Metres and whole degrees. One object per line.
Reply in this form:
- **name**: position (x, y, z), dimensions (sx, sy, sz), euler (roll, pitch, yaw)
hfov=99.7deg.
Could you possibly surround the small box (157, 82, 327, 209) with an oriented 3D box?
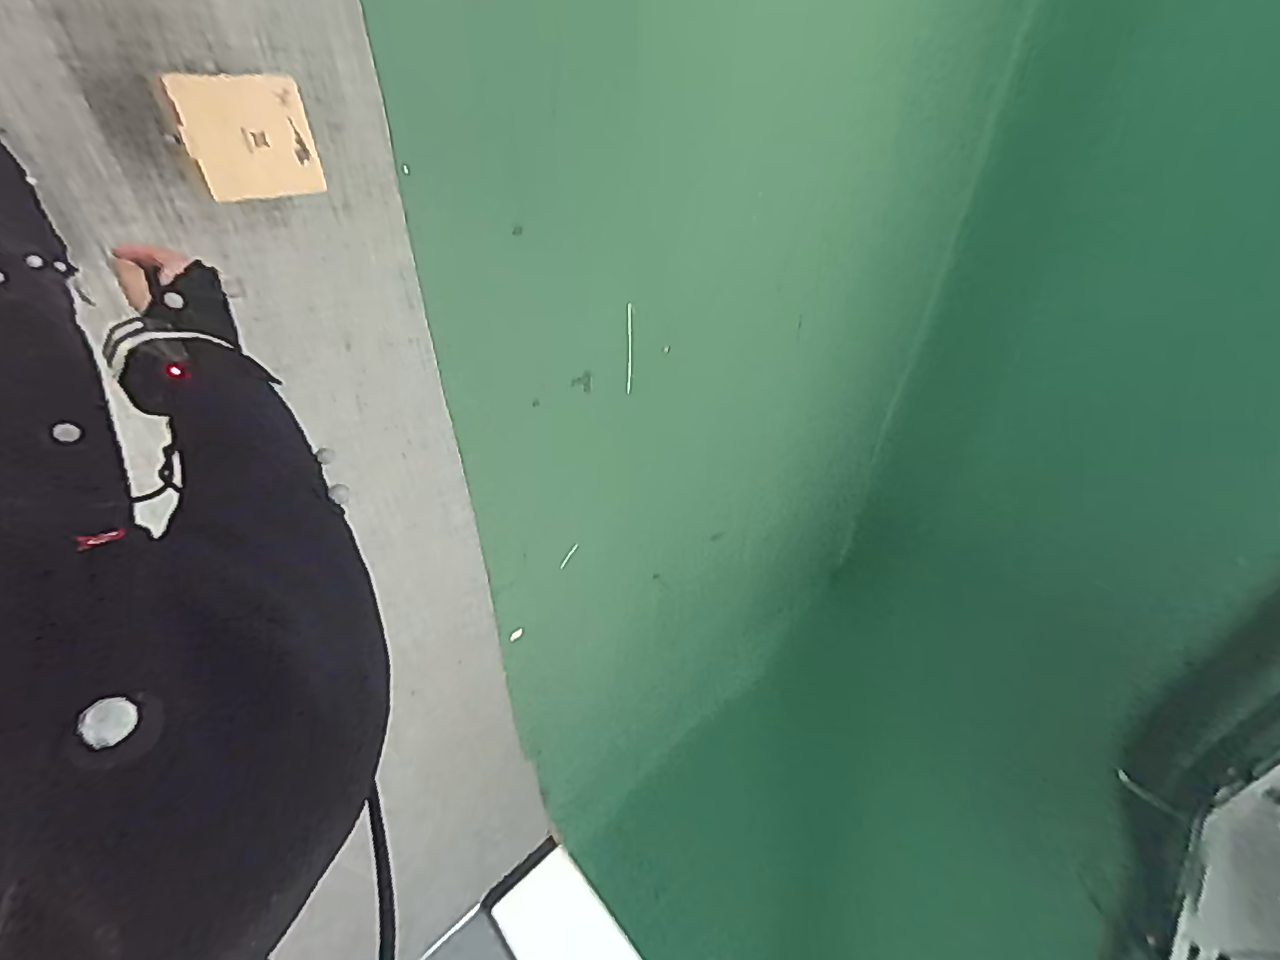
- **small box**: position (-0.663, -0.559, 0.903), dimensions (0.179, 0.176, 0.168), euler (-28, 133, -33)
